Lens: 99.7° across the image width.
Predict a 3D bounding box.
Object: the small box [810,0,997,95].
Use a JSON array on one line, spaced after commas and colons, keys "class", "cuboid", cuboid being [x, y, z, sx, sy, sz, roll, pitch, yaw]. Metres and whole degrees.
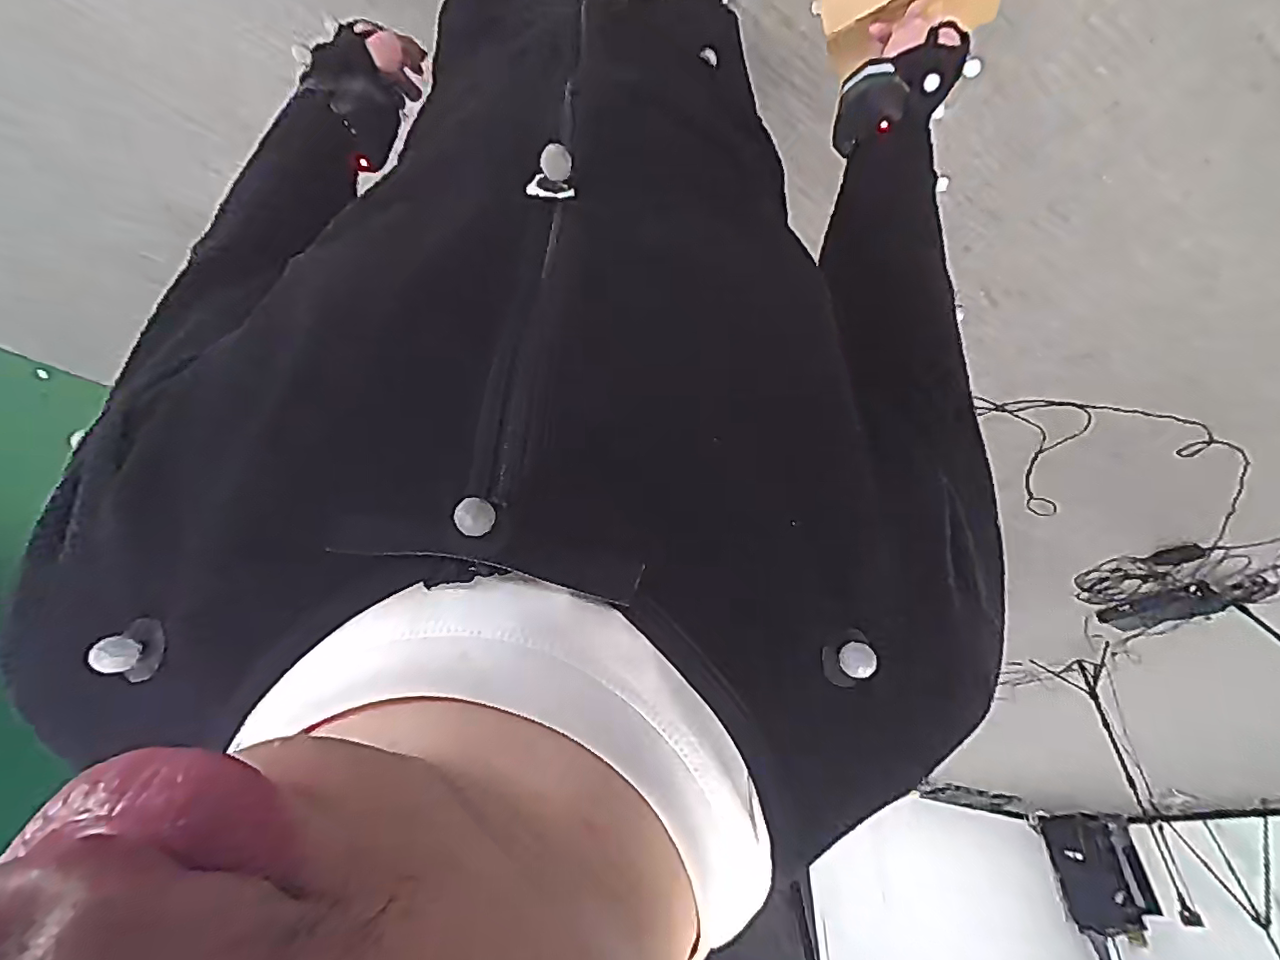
[{"class": "small box", "cuboid": [0.275, -0.553, 0.578, 0.168, 0.176, 0.179, -12, 99, 31]}]
